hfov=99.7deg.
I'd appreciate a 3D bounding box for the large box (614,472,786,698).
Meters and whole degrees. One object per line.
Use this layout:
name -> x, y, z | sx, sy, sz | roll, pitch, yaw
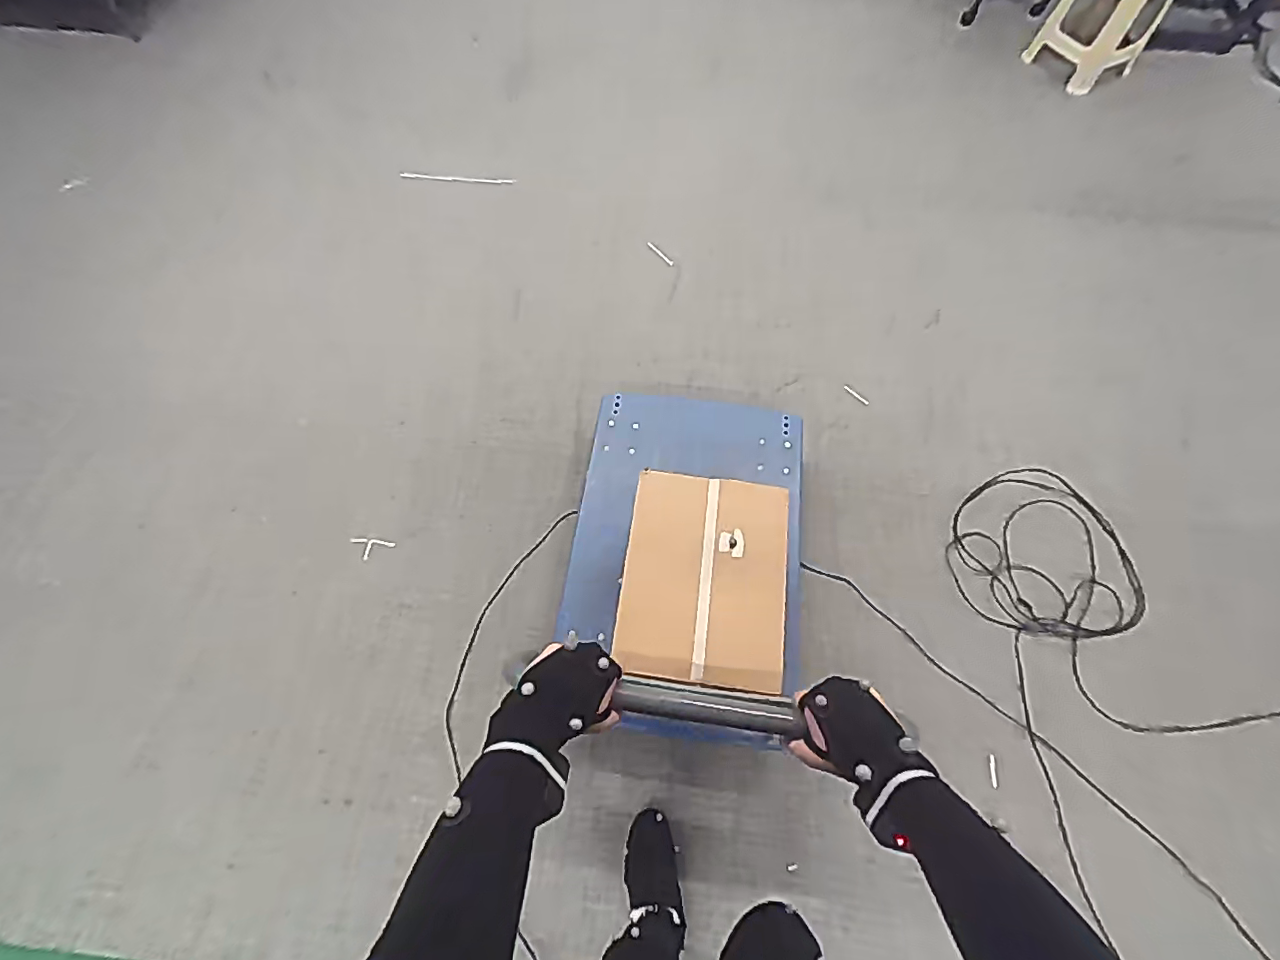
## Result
large box -> 0.127, 0.241, 1.185 | 0.320, 0.320, 0.408 | 8, 65, 2
